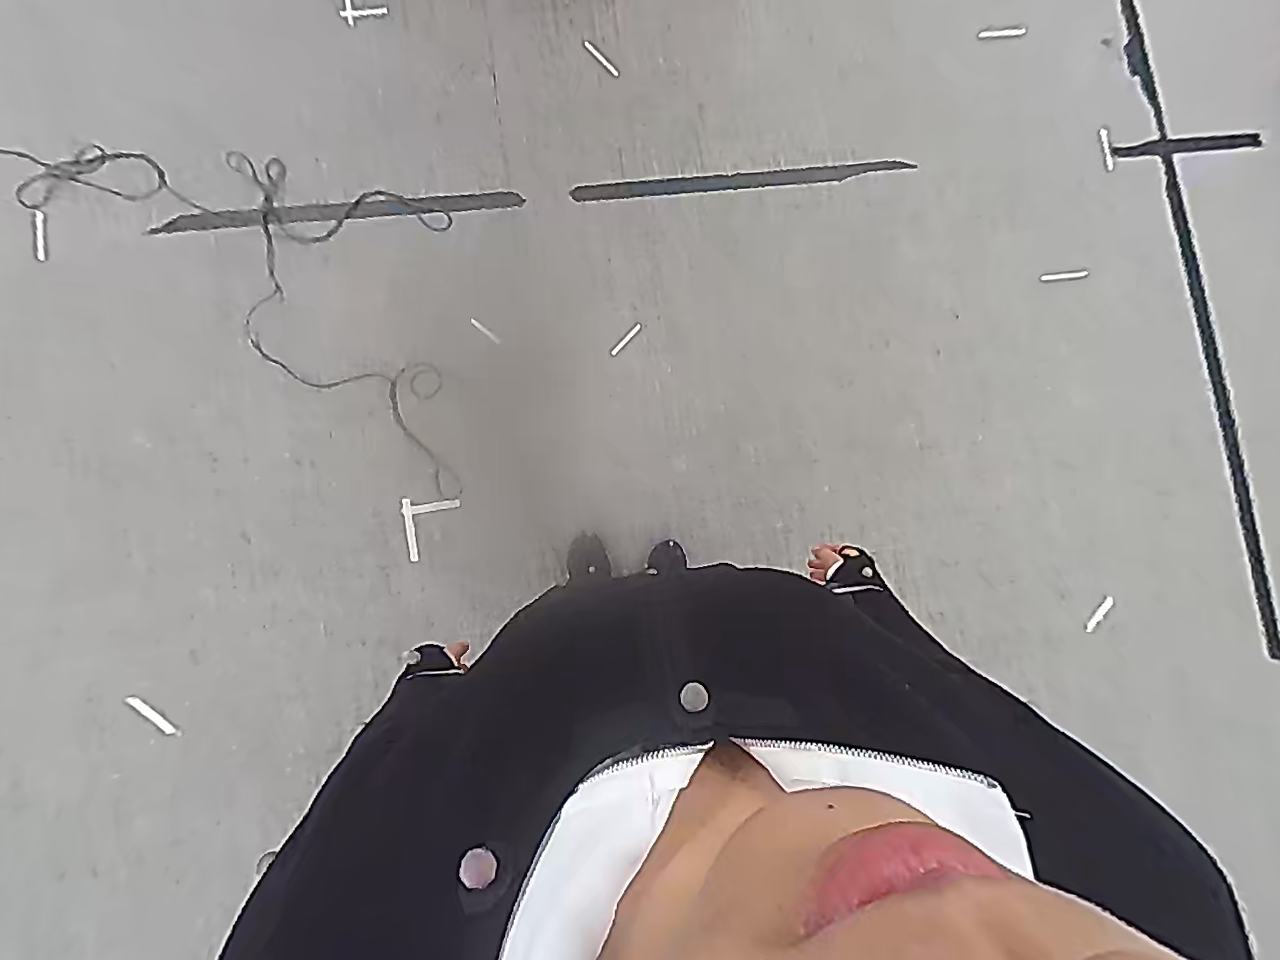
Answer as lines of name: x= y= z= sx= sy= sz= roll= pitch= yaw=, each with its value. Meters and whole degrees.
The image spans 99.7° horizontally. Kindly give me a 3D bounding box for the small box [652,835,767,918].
small box: x=0.119 y=0.736 z=0.897 sx=0.168 sy=0.176 sz=0.179 roll=-9 pitch=84 yaw=-6
